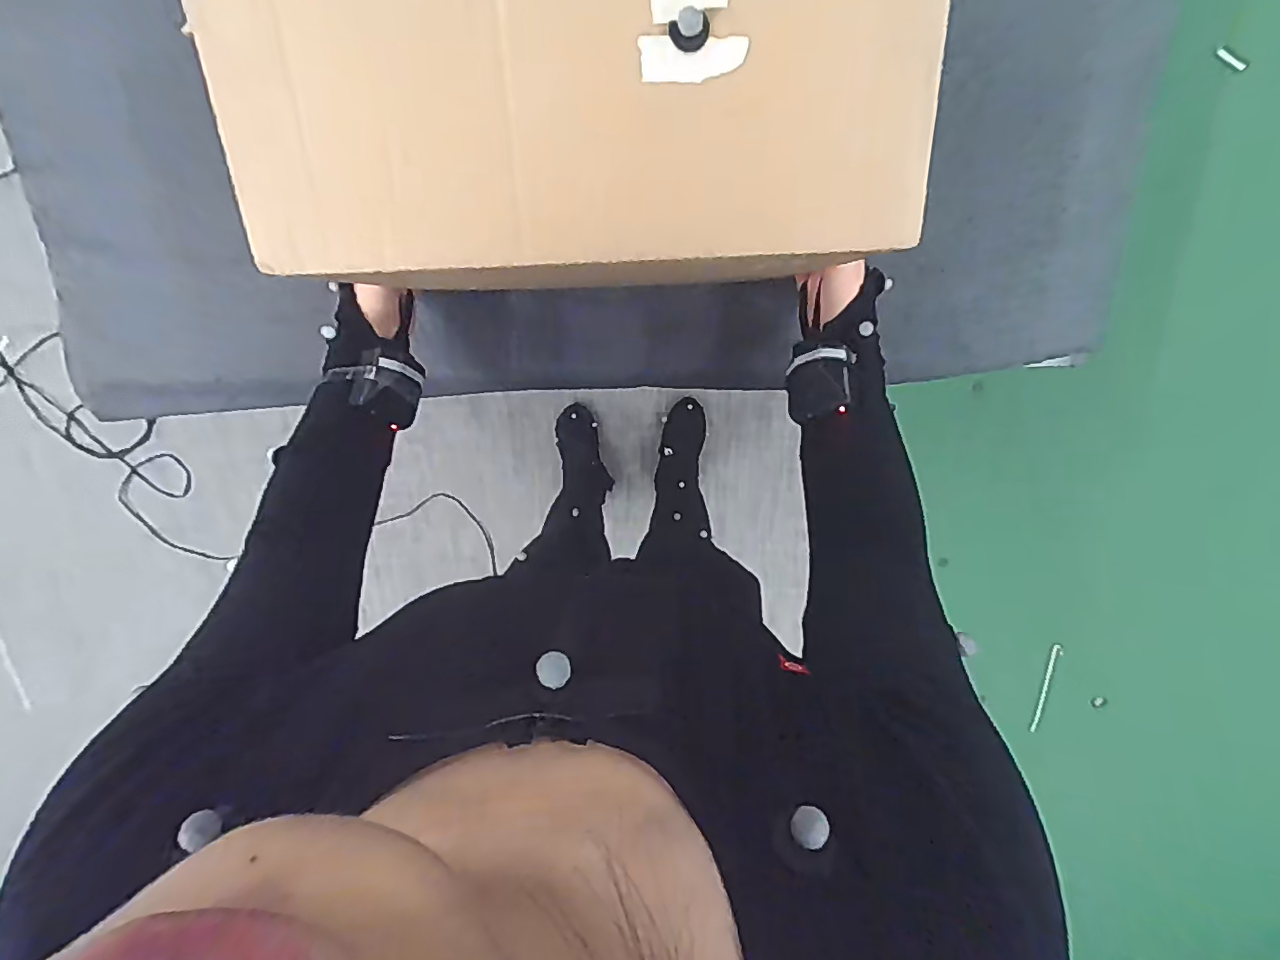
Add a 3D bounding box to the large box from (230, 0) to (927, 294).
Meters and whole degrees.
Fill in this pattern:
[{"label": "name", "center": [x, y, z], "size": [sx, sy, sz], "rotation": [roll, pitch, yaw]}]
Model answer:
[{"label": "large box", "center": [-0.036, -0.333, 0.444], "size": [0.408, 0.320, 0.320], "rotation": [-2, 108, 1]}]
